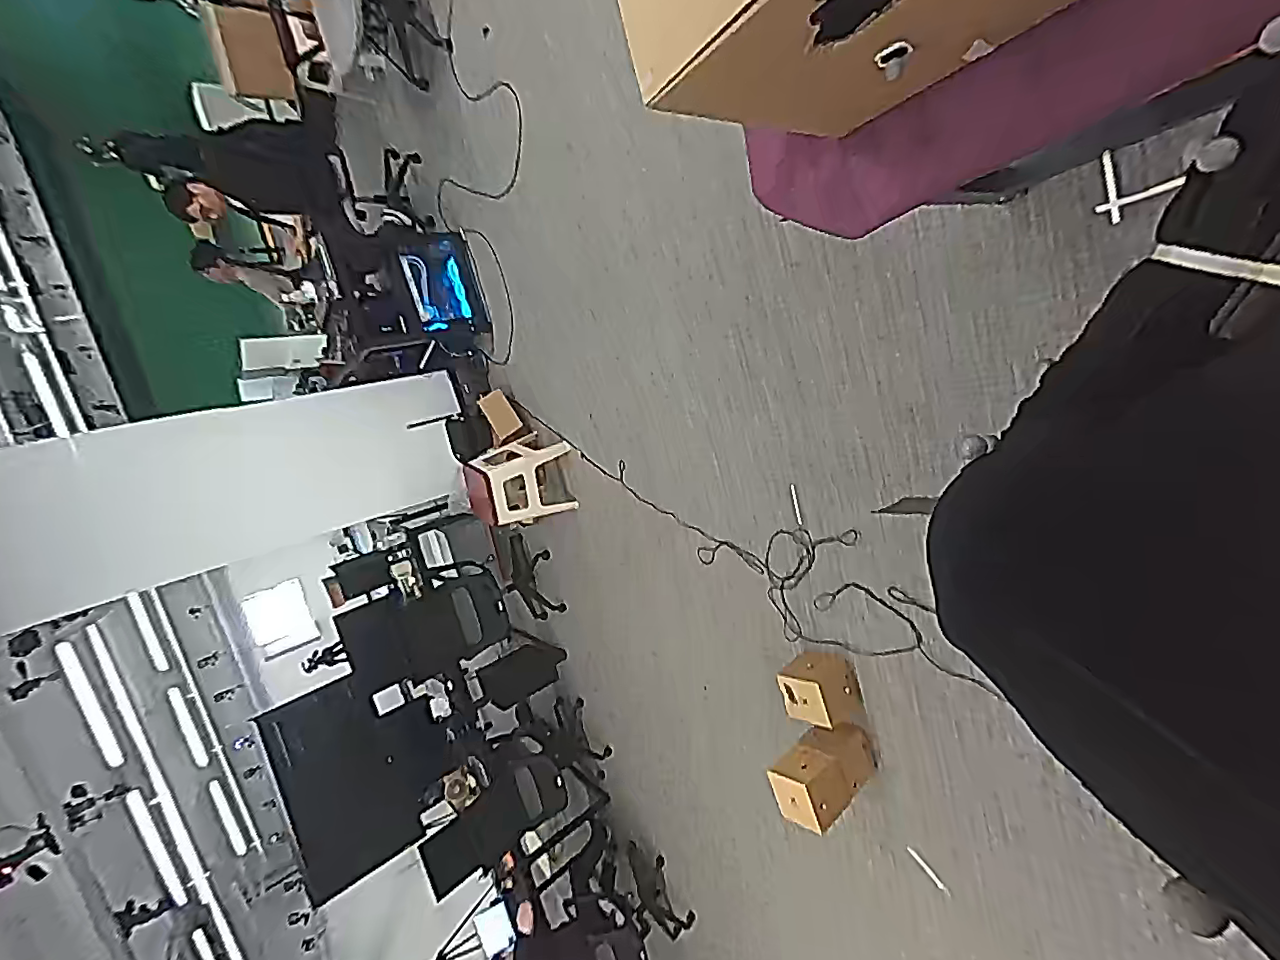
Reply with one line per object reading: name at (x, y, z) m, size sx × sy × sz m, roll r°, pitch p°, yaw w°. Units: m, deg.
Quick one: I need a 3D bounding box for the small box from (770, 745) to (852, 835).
small box at (0.568, 1.015, 1.791) m, size 0.168 × 0.176 × 0.179 m, roll -16°, pitch 95°, yaw 56°

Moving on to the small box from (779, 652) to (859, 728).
small box at (0.614, 0.709, 1.848) m, size 0.179 × 0.176 × 0.168 m, roll -10°, pitch 100°, yaw 55°
